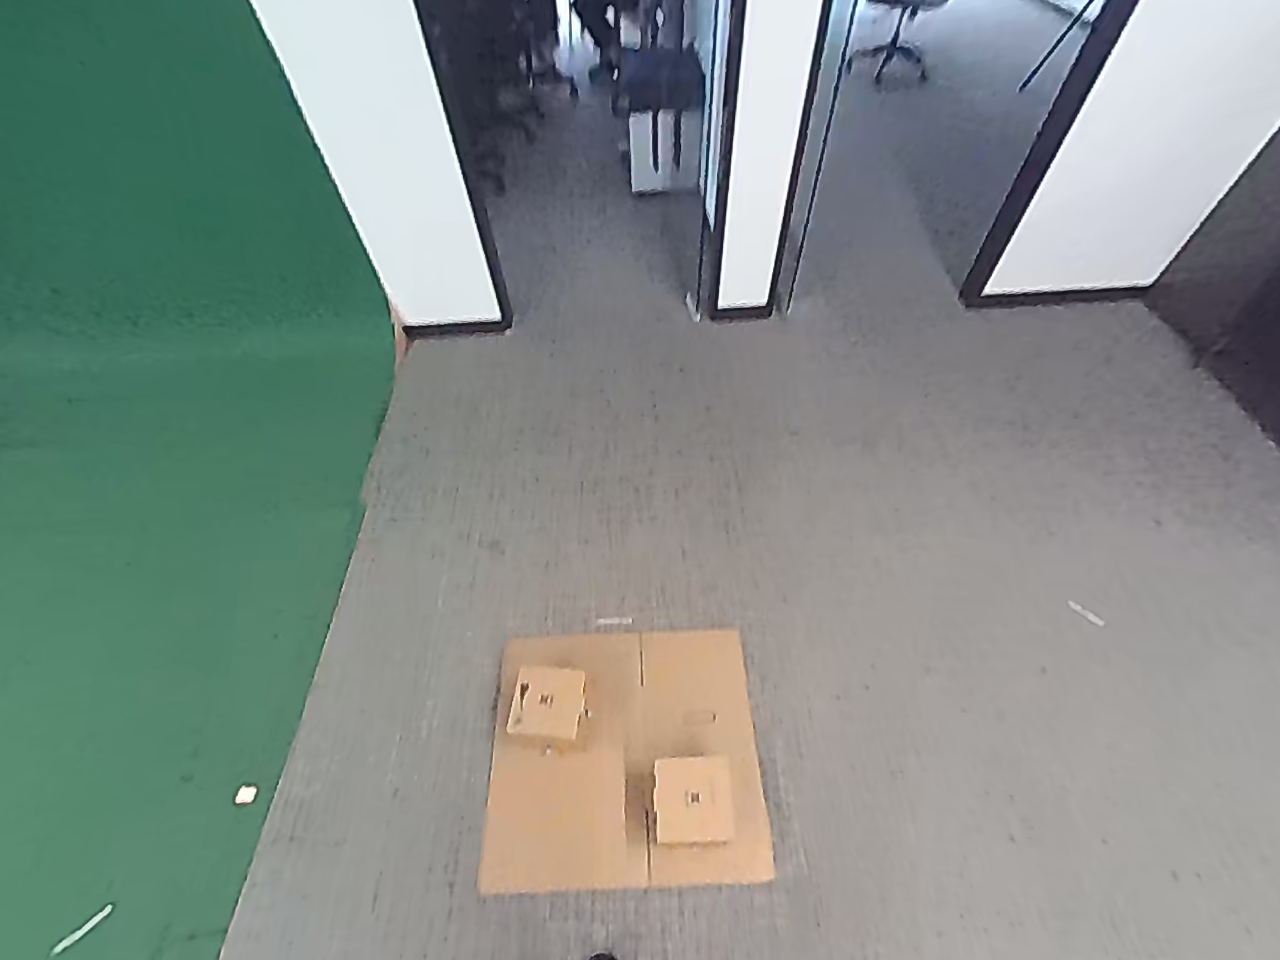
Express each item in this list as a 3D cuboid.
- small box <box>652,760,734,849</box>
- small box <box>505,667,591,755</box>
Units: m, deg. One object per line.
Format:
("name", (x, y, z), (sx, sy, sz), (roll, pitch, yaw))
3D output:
("small box", (0.119, 0.764, 1.269), (0.179, 0.176, 0.168), (-2, 53, 1))
("small box", (-0.227, 0.602, 1.400), (0.179, 0.176, 0.168), (4, 53, 5))
